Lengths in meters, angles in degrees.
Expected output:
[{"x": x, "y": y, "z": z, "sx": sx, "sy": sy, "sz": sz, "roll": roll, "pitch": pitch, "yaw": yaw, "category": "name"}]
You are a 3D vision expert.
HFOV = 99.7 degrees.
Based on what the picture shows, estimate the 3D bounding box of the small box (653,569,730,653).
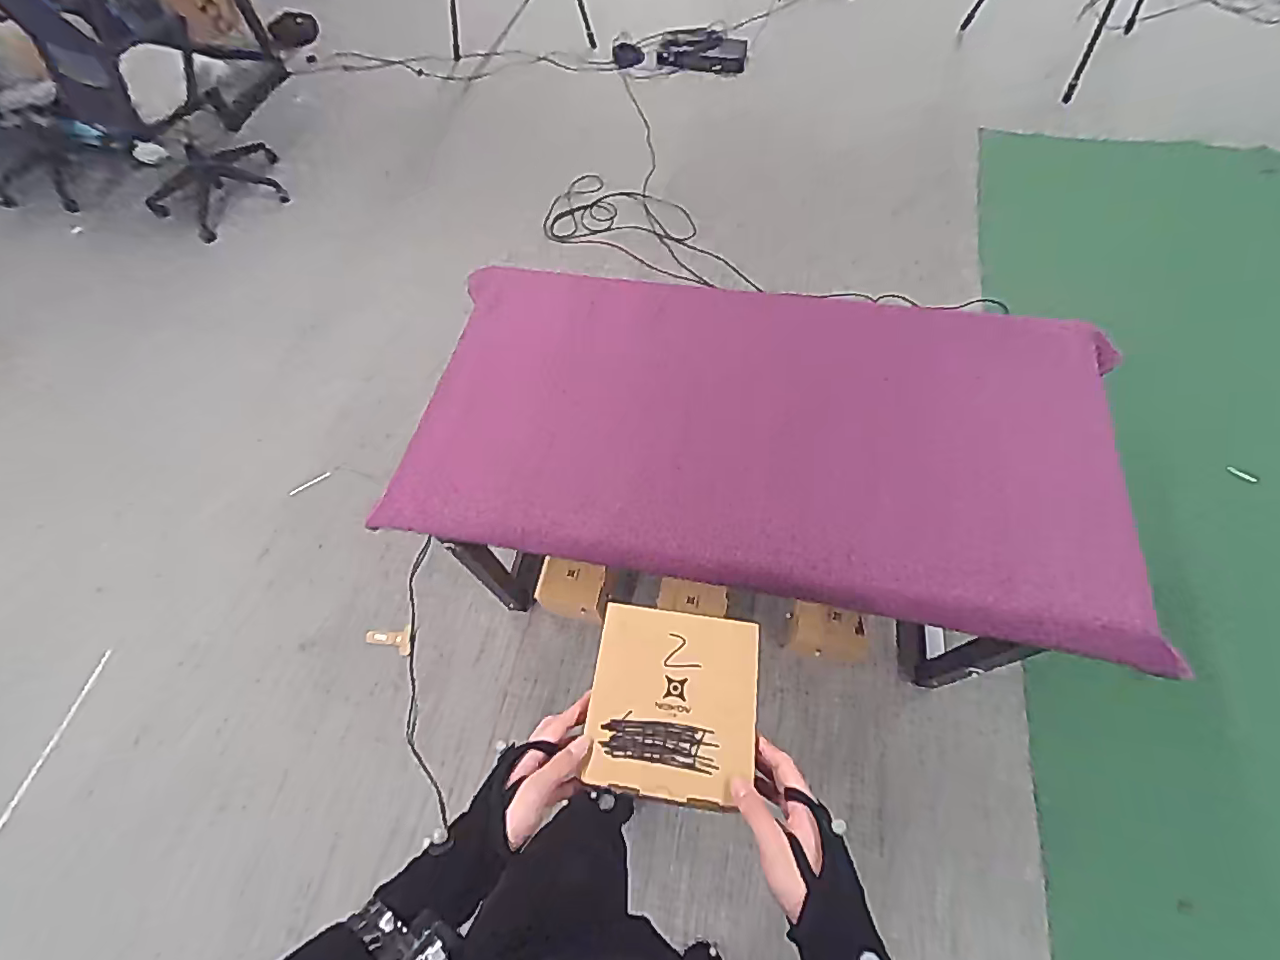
[{"x": 0.139, "y": 0.358, "z": 1.460, "sx": 0.179, "sy": 0.176, "sz": 0.168, "roll": 9, "pitch": 62, "yaw": 10, "category": "small box"}]

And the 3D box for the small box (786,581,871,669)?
[{"x": 0.488, "y": 0.385, "z": 1.418, "sx": 0.179, "sy": 0.176, "sz": 0.168, "roll": 11, "pitch": 63, "yaw": 10, "category": "small box"}]

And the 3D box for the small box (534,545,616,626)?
[{"x": -0.176, "y": 0.299, "z": 1.517, "sx": 0.179, "sy": 0.176, "sz": 0.168, "roll": 8, "pitch": 62, "yaw": 8, "category": "small box"}]
